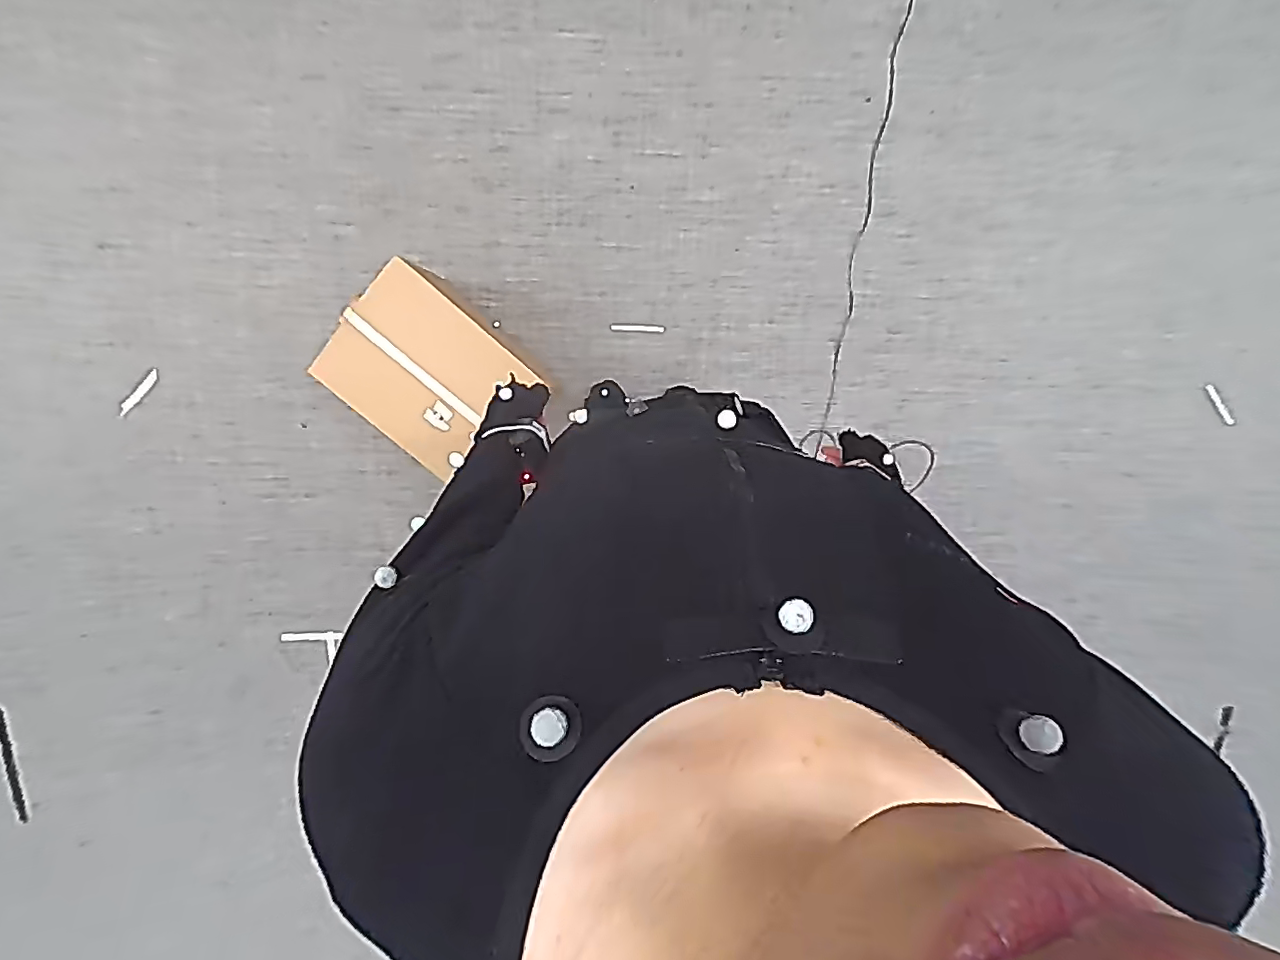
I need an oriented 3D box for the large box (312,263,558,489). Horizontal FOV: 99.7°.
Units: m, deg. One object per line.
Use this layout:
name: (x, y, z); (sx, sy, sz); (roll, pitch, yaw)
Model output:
large box: (-0.458, -0.241, 1.302); (0.408, 0.320, 0.320); (40, 97, -9)
